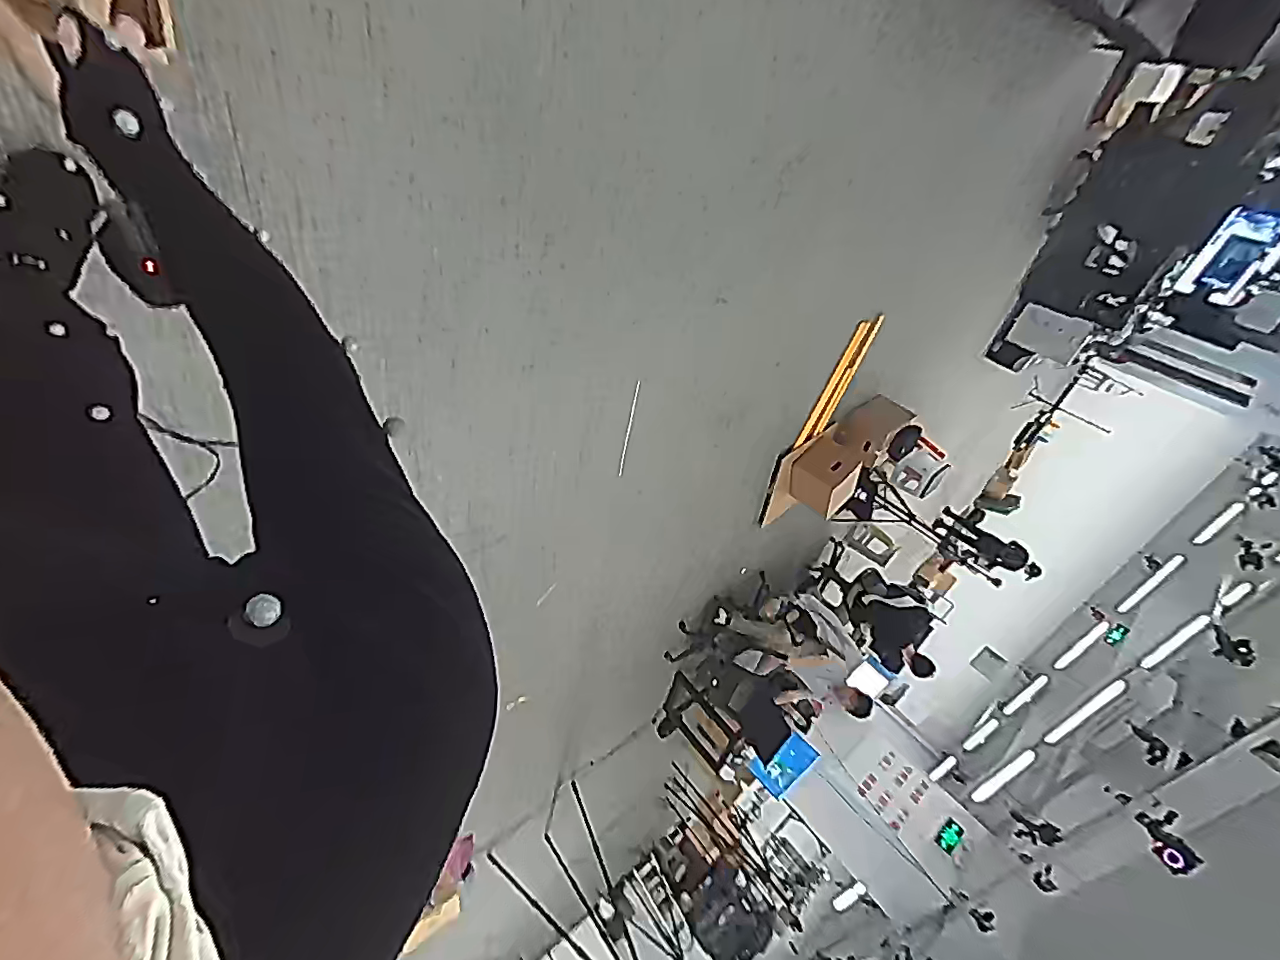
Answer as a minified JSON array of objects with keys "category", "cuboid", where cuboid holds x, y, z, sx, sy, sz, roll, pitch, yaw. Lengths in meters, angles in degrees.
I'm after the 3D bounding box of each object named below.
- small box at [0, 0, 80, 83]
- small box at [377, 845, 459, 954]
[{"category":"small box","cuboid":[-0.585,-0.470,0.428,0.168,0.176,0.179,-10,103,-53]},{"category":"small box","cuboid":[-0.635,1.198,1.554,0.168,0.176,0.179,-22,139,-36]}]
